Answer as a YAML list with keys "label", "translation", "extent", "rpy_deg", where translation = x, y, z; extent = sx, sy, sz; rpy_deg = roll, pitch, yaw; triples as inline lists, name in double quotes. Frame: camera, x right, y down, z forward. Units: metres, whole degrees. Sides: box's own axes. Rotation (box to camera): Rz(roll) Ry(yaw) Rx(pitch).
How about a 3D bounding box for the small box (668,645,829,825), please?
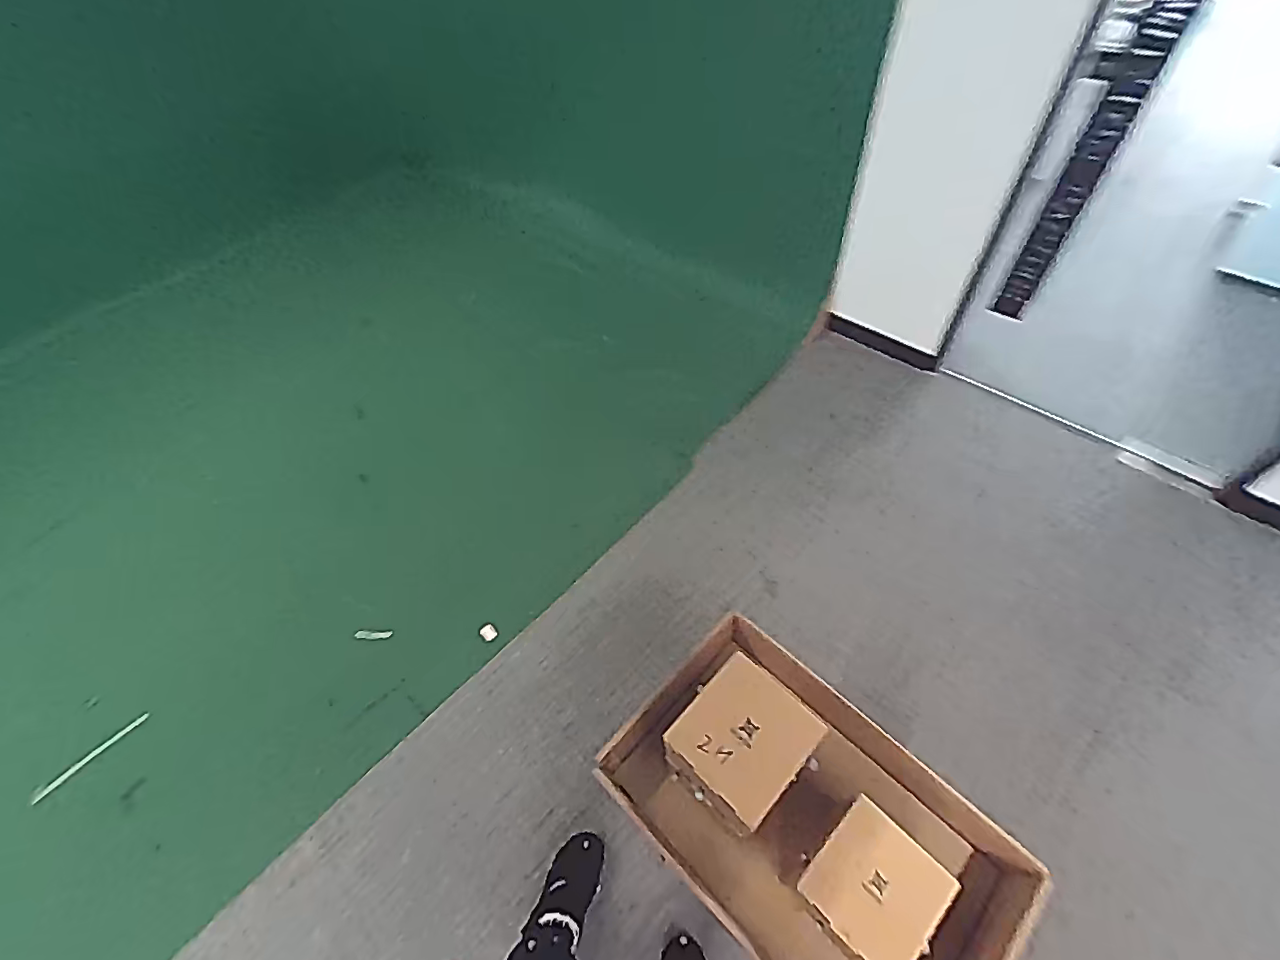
- label: "small box"
  translation: [0.158, 0.396, 0.836]
  extent: [0.179, 0.176, 0.168]
  rpy_deg: [-40, 61, -21]
